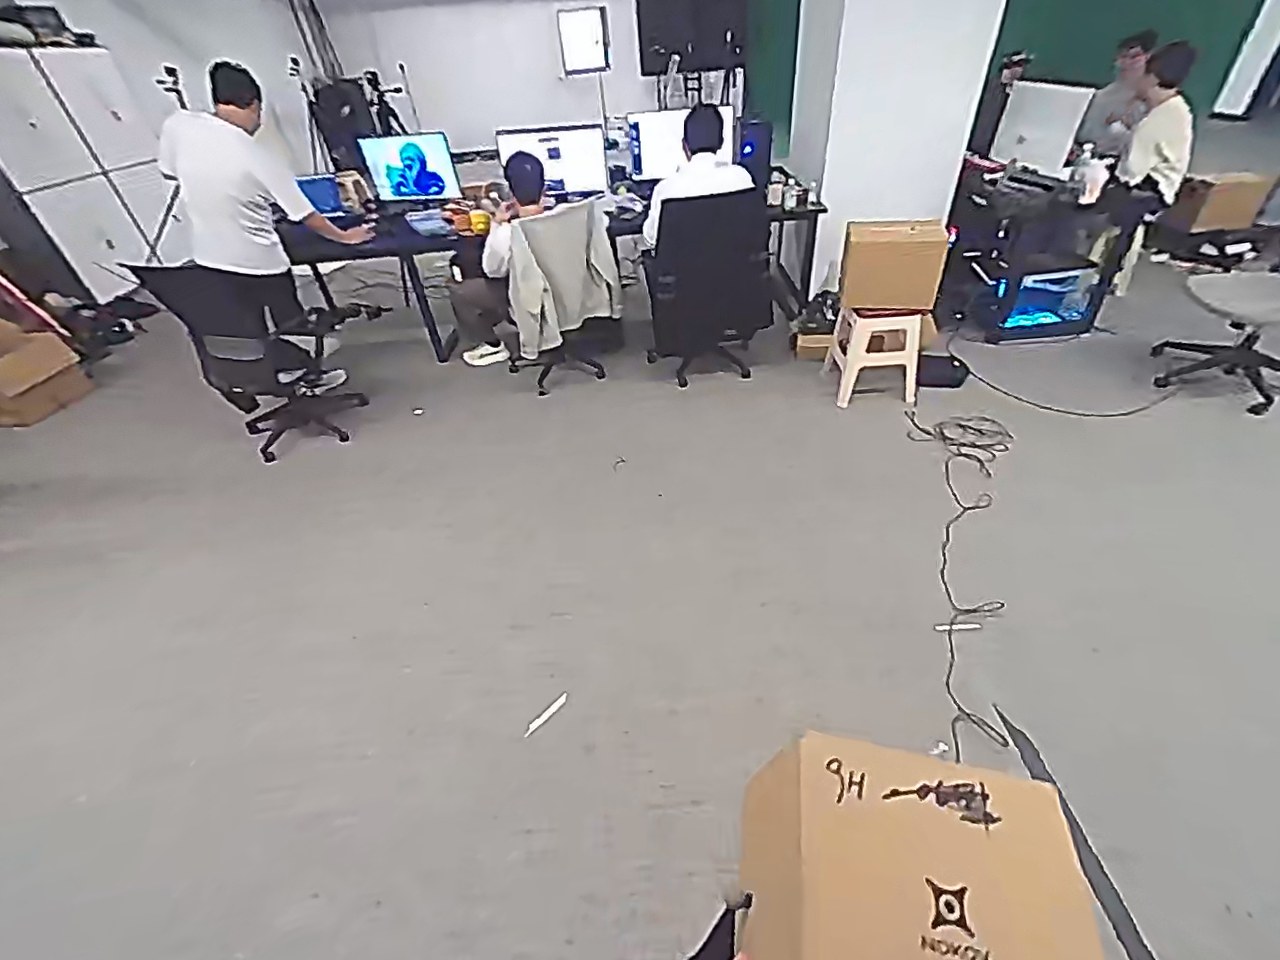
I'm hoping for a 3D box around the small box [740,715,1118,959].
[{"bbox_3d":[0.166,0.284,0.355,0.168,0.176,0.179,12,51,4],"label":"small box"}]
